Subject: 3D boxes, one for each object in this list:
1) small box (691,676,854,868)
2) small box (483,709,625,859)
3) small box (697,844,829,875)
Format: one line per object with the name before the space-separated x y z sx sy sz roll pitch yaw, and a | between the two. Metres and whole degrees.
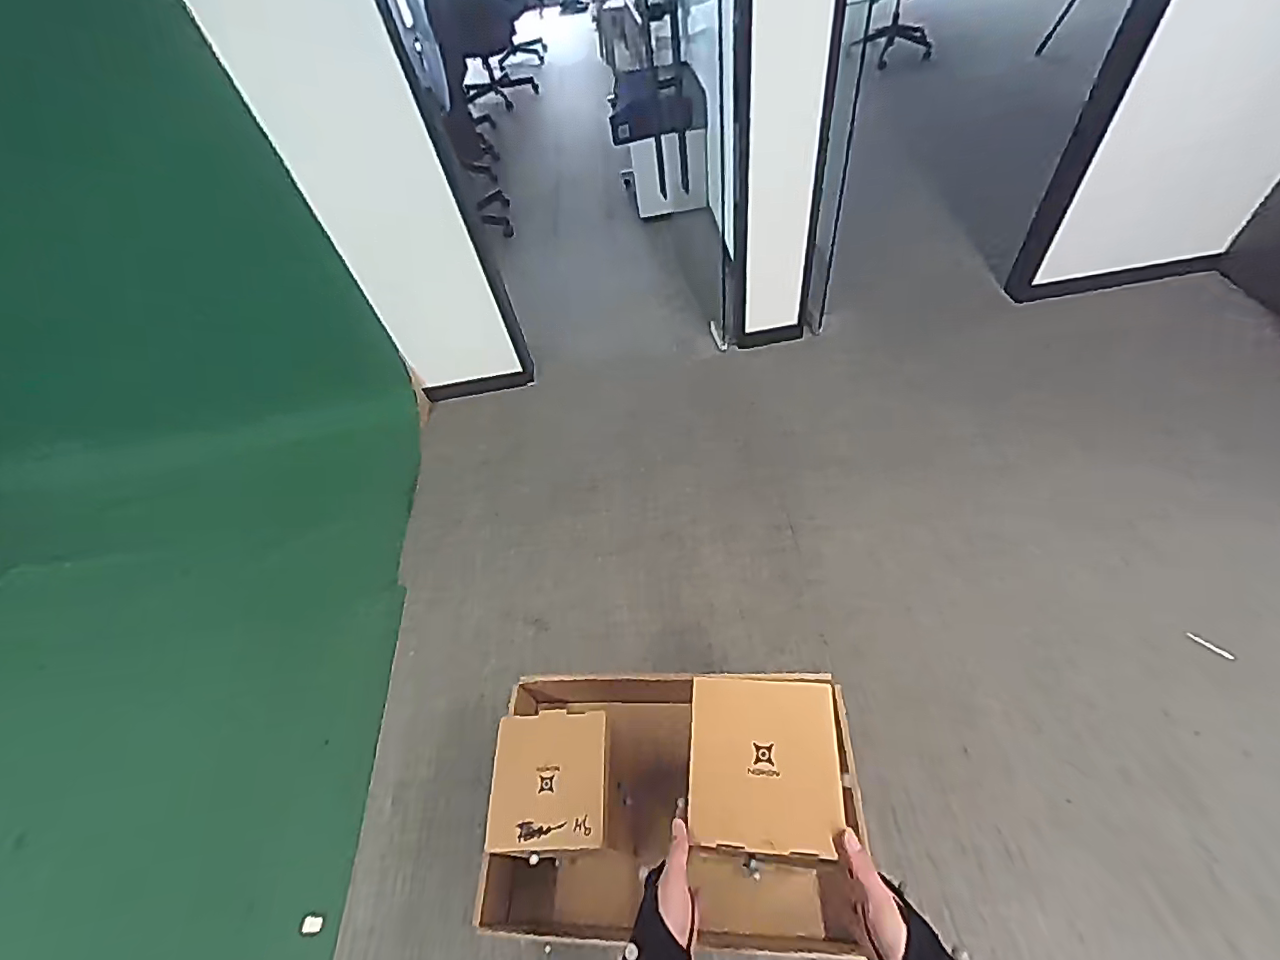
small box | 0.151 0.357 0.660 0.168 0.176 0.179 0 54 10
small box | -0.118 0.465 0.823 0.168 0.176 0.179 -5 52 7
small box | 0.171 0.456 0.786 0.168 0.176 0.179 0 53 10
